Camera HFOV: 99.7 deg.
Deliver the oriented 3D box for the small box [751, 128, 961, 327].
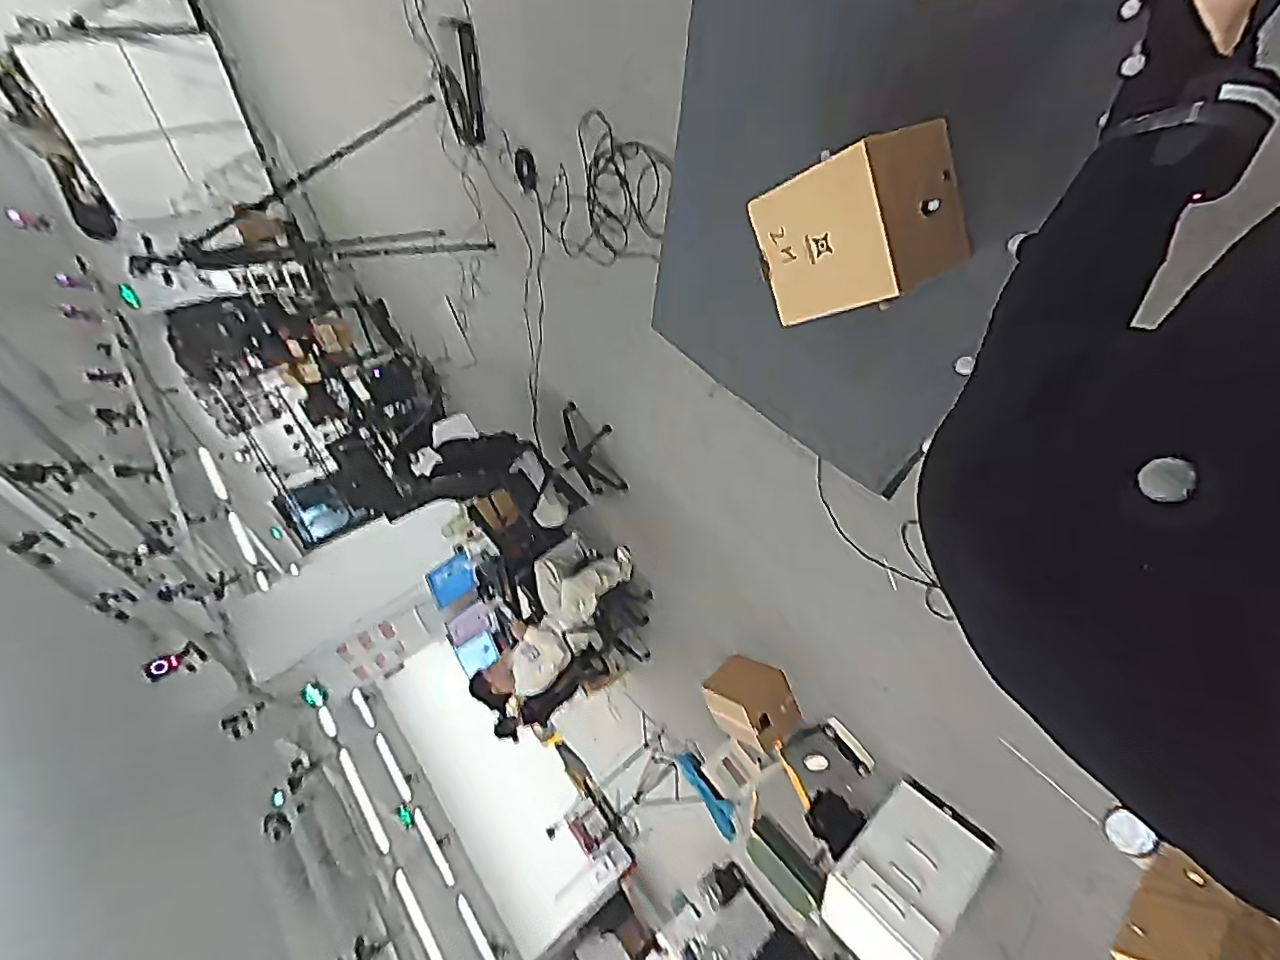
[{"bbox_3d":[0.279,-0.315,0.688,0.179,0.176,0.168,4,119,58],"label":"small box"}]
